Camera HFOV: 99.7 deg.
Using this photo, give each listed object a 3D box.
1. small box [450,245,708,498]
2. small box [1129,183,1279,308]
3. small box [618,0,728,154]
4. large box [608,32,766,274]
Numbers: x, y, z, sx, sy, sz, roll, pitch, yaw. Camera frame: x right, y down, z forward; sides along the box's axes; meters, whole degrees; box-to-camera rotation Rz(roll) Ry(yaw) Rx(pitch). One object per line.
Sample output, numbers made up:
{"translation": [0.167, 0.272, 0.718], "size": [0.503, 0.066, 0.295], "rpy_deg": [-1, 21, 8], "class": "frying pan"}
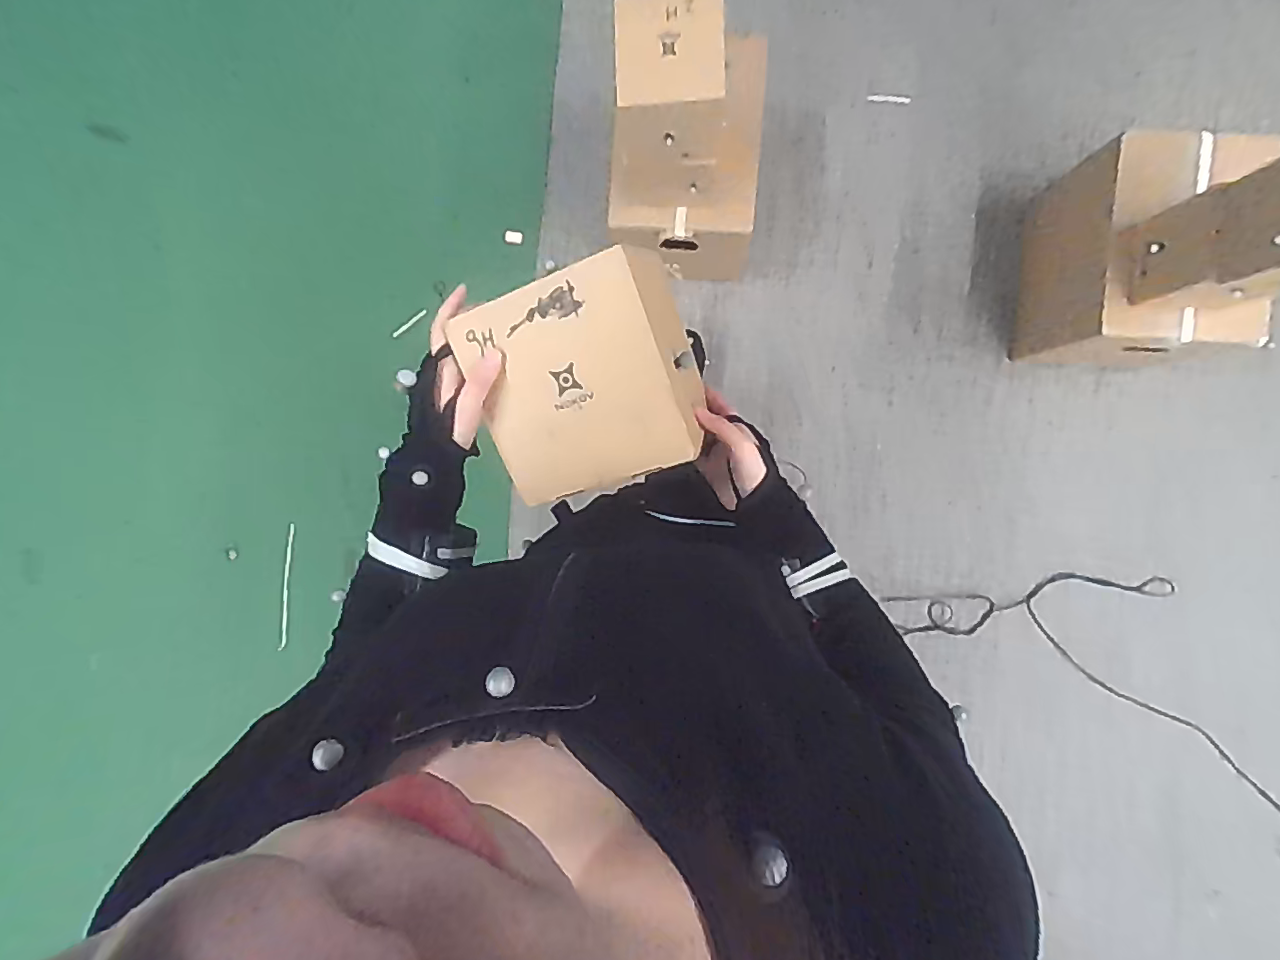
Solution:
{"translation": [-0.039, -0.110, 0.518], "size": [0.168, 0.176, 0.179], "rpy_deg": [-16, 108, 17], "class": "small box"}
{"translation": [1.063, -0.419, 0.990], "size": [0.179, 0.176, 0.168], "rpy_deg": [4, 94, 5], "class": "small box"}
{"translation": [0.056, -0.660, 0.885], "size": [0.168, 0.176, 0.179], "rpy_deg": [0, 92, 4], "class": "small box"}
{"translation": [0.111, -0.742, 1.286], "size": [0.320, 0.320, 0.408], "rpy_deg": [5, 93, 4], "class": "large box"}
